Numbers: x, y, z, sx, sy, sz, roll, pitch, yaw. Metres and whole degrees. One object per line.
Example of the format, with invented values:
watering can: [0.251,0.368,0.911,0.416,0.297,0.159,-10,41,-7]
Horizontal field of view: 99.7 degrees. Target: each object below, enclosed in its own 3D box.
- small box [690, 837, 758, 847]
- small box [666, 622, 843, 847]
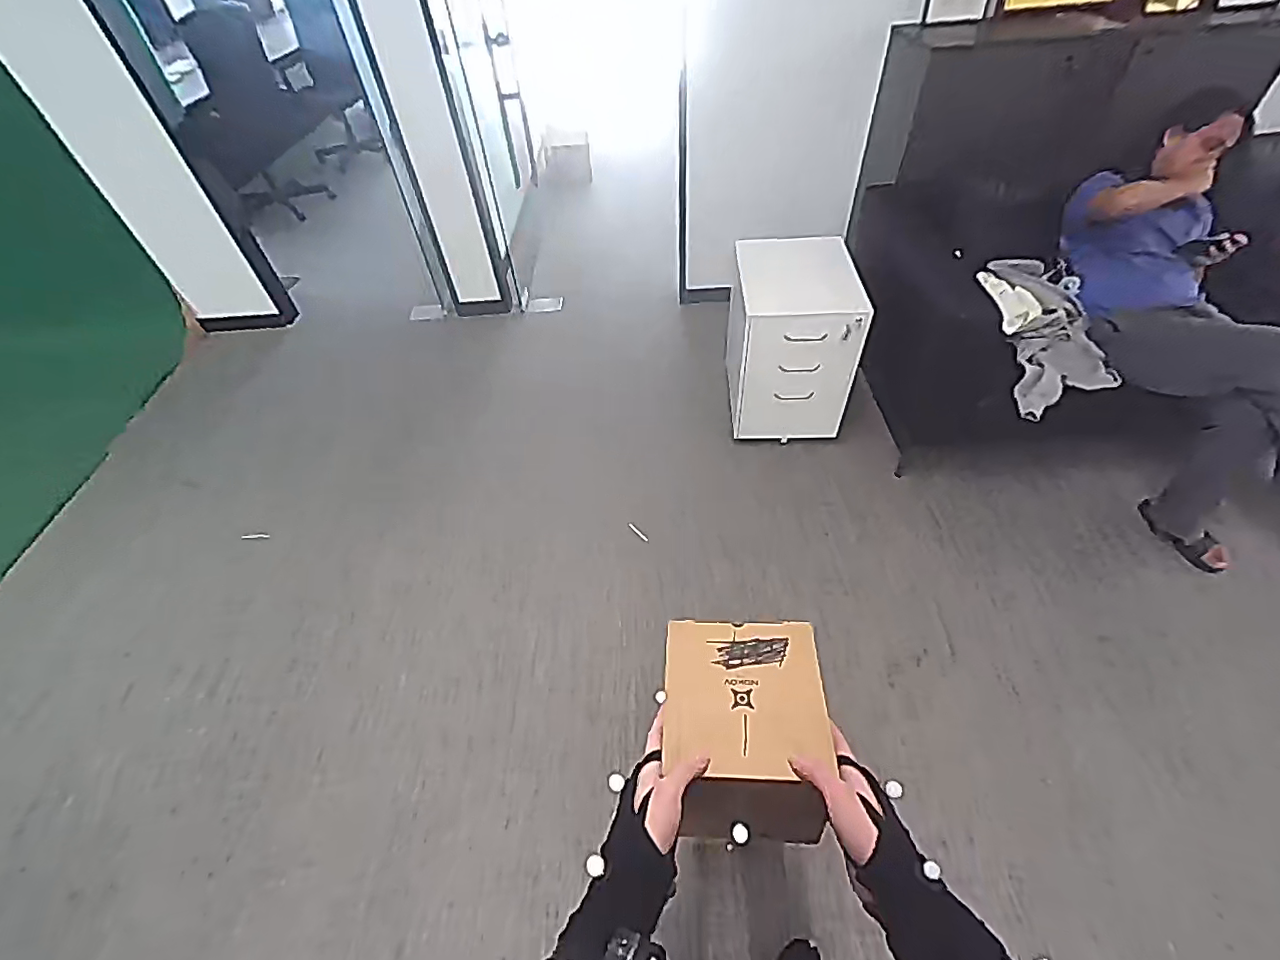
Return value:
small box: [0.208,0.767,1.296,0.179,0.176,0.168,-1,48,2]
small box: [0.119,0.285,0.616,0.168,0.176,0.179,-1,40,7]
